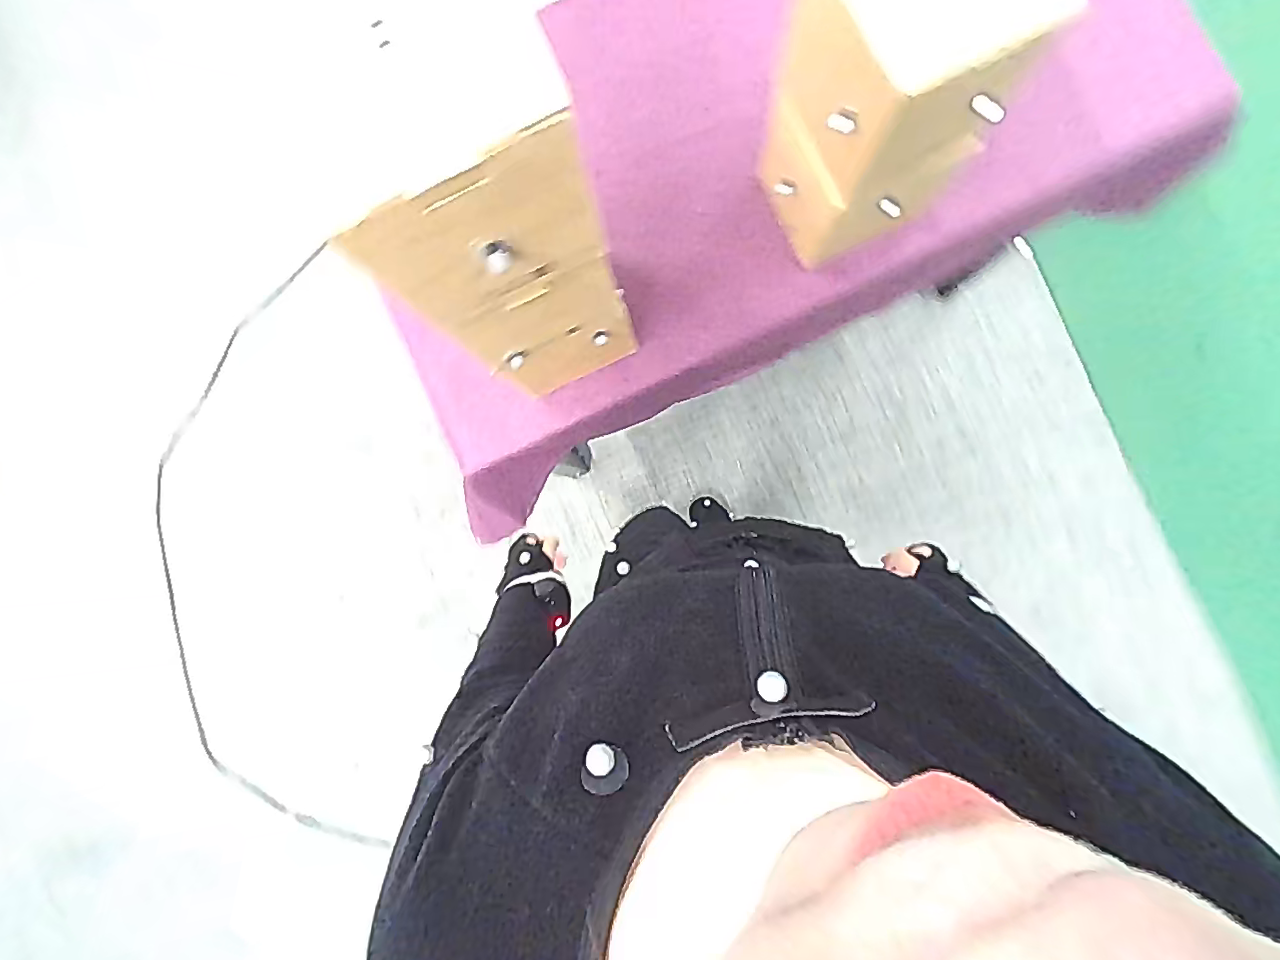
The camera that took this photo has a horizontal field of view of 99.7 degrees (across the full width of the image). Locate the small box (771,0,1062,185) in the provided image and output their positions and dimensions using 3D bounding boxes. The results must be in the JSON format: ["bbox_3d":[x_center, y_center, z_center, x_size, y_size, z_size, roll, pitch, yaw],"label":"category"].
[{"bbox_3d":[0.251,-0.433,0.538,0.168,0.176,0.179,-27,85,3],"label":"small box"}]

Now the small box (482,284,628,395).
[{"bbox_3d":[-0.131,-0.233,0.728,0.179,0.176,0.168,-26,86,2],"label":"small box"}]

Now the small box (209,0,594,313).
[{"bbox_3d":[-0.148,-0.245,0.400,0.168,0.176,0.179,-26,87,2],"label":"small box"}]

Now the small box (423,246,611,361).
[{"bbox_3d":[-0.143,-0.242,0.564,0.168,0.176,0.179,-26,84,2],"label":"small box"}]

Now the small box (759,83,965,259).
[{"bbox_3d":[0.266,-0.421,0.701,0.179,0.176,0.168,-24,87,3],"label":"small box"}]
